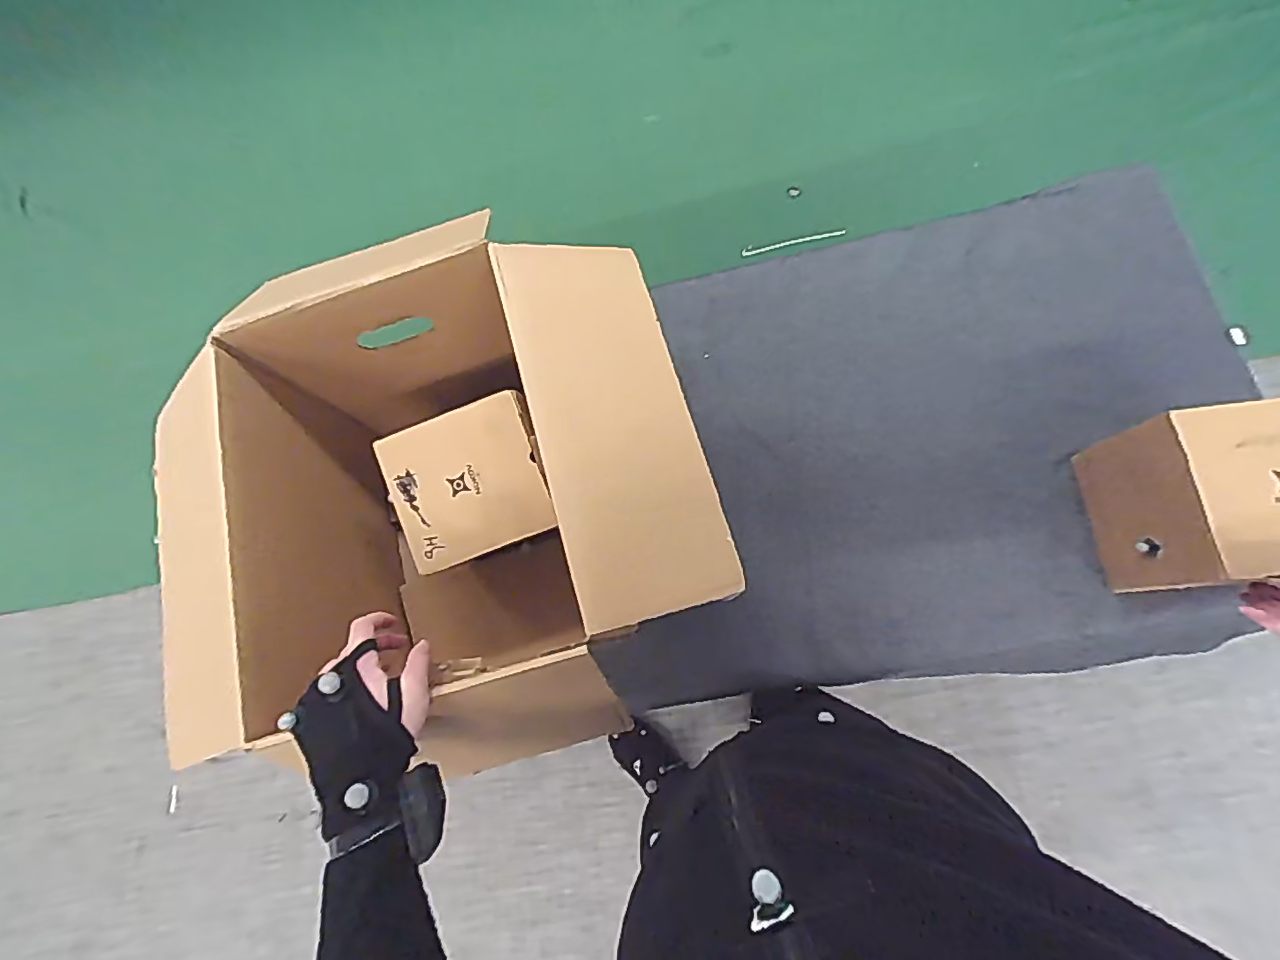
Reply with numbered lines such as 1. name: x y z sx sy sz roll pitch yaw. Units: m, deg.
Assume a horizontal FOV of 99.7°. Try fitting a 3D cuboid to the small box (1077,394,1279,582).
1. small box: 0.641 0.018 0.600 0.168 0.176 0.179 -6 74 7
